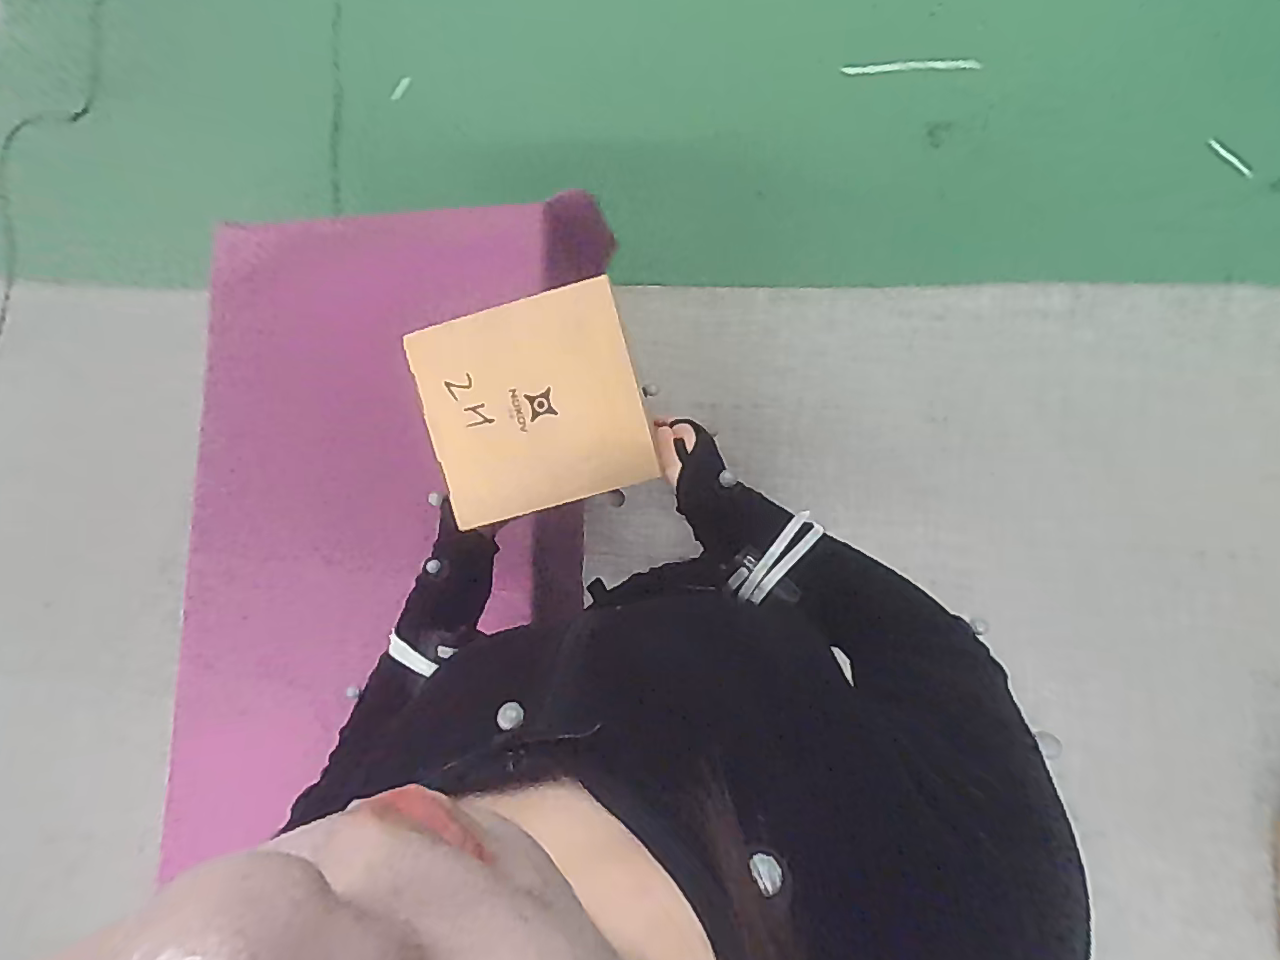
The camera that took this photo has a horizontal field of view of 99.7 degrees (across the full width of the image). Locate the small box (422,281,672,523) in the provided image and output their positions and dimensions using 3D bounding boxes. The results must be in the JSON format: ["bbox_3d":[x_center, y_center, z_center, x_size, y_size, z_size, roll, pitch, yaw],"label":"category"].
[{"bbox_3d":[-0.072,-0.068,0.517,0.179,0.176,0.168,-13,93,5],"label":"small box"}]
